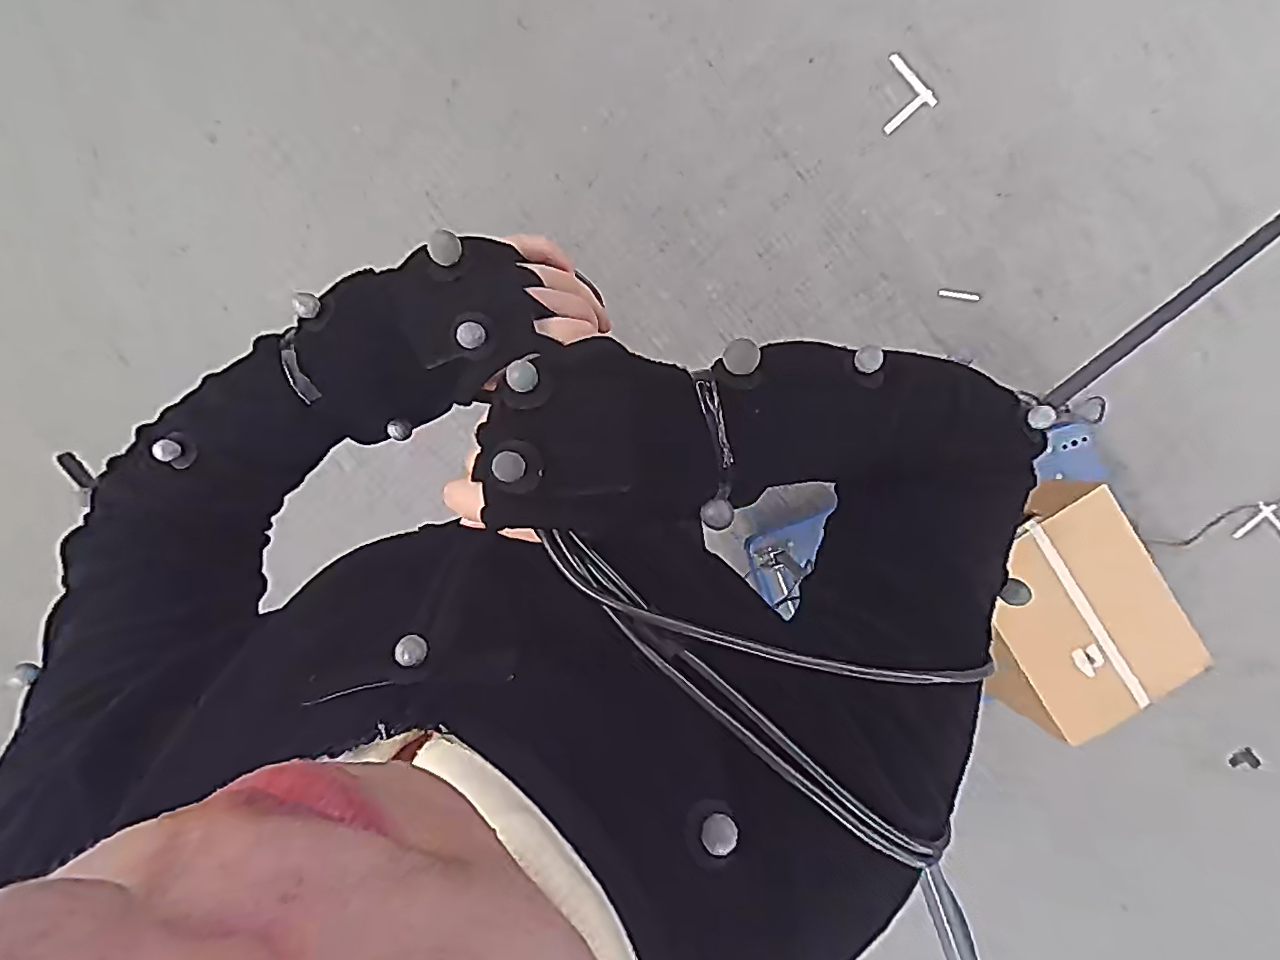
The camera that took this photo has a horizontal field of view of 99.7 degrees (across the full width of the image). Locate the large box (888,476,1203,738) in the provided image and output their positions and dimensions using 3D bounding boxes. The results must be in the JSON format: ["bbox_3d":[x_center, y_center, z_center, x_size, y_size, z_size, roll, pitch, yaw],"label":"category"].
[{"bbox_3d":[0.825,0.239,1.161,0.320,0.320,0.408,-32,92,2],"label":"large box"}]
